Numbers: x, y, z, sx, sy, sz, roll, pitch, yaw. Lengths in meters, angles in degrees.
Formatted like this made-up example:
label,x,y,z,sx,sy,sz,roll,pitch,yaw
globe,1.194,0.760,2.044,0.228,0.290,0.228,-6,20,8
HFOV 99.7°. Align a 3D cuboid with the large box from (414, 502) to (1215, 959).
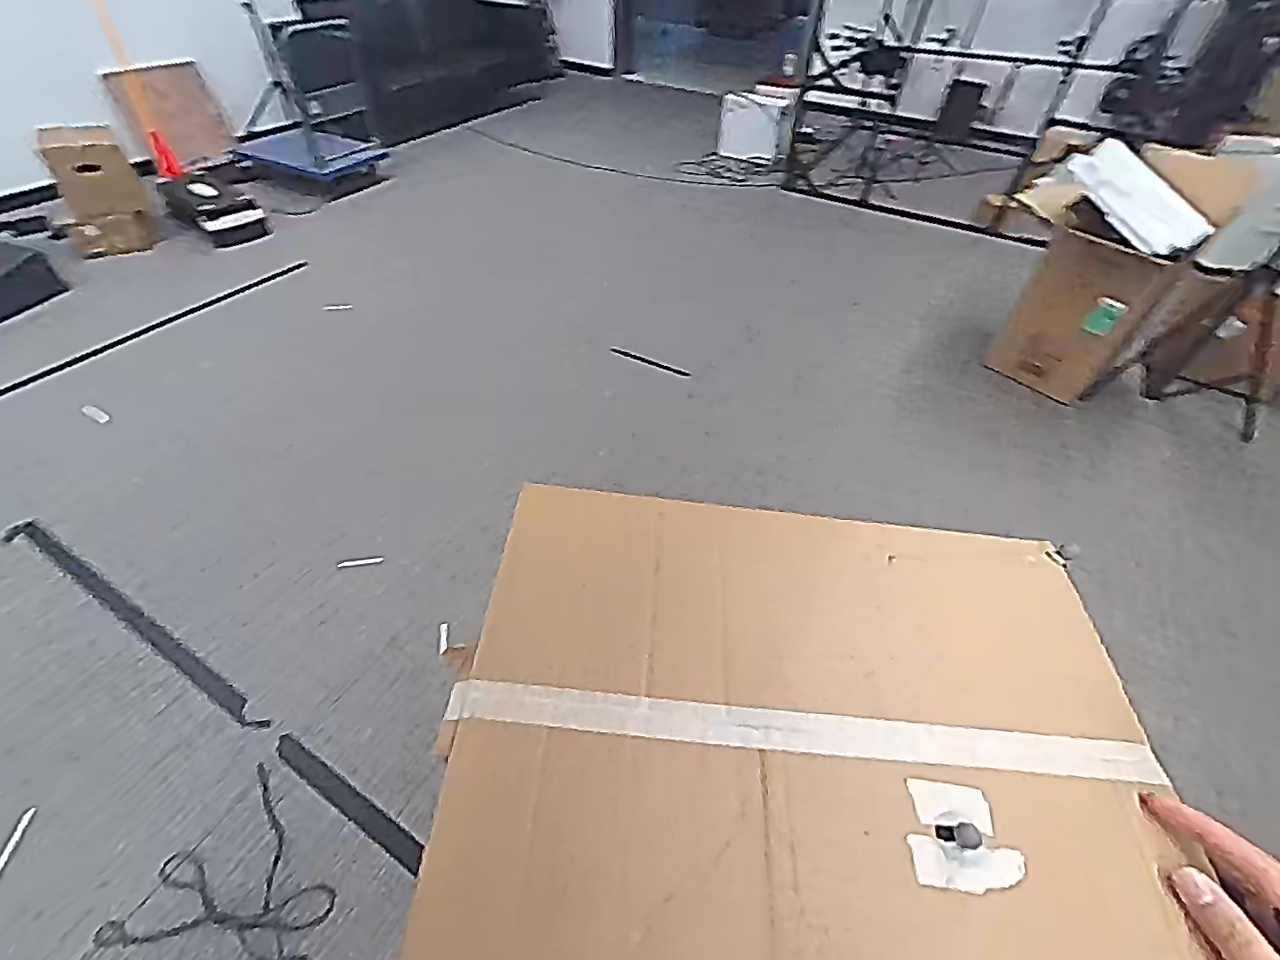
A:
label,x,y,z,sx,sy,sz,roll,pitch,yaw
large box,0.082,0.244,0.438,0.408,0.320,0.320,6,52,-3
